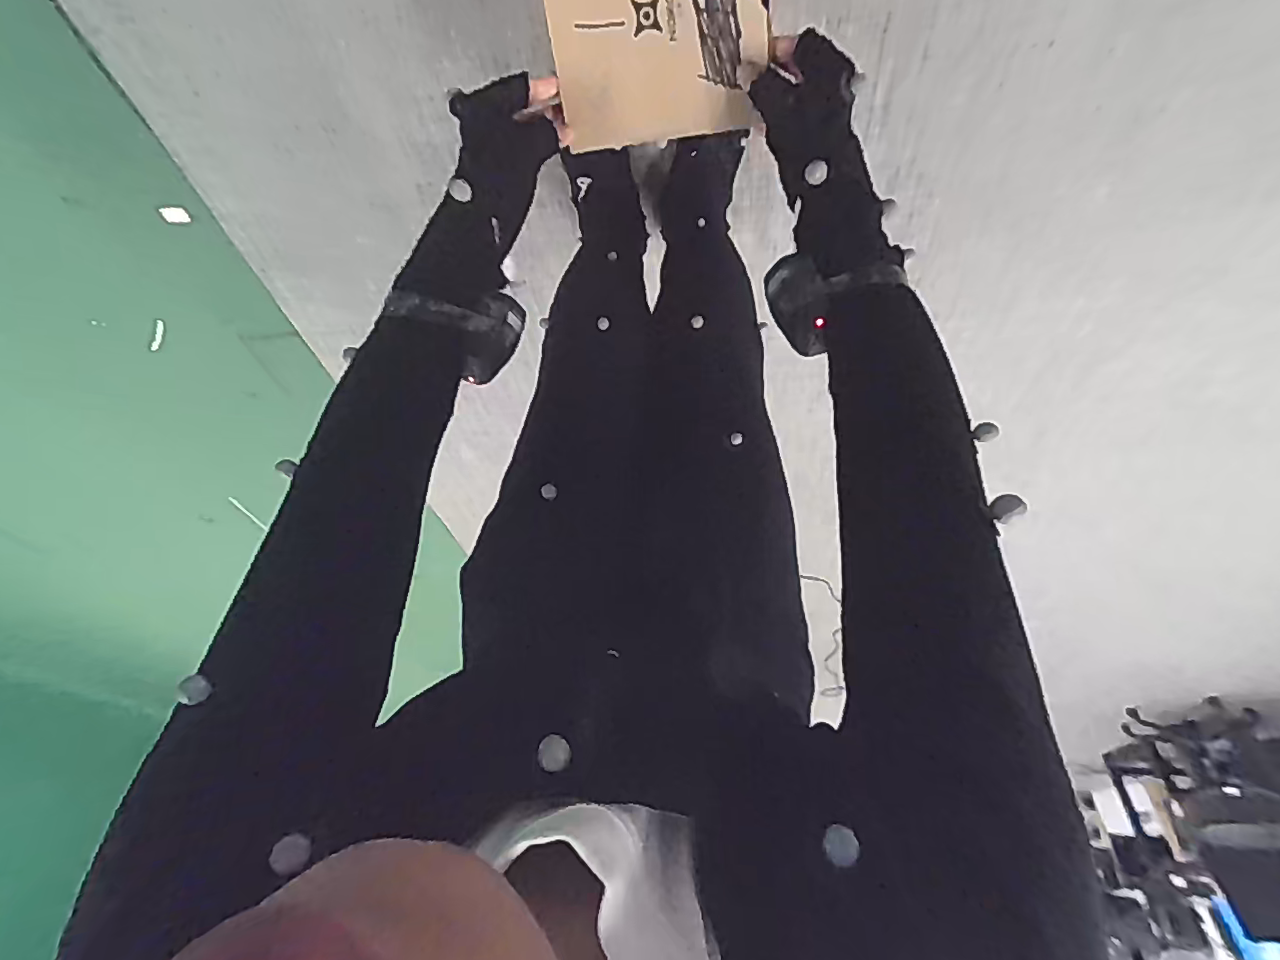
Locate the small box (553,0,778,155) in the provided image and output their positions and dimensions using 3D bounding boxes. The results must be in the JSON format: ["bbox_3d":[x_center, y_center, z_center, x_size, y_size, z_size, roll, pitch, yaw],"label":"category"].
[{"bbox_3d":[0.025,-0.412,0.491,0.179,0.176,0.168,-4,128,8],"label":"small box"}]
